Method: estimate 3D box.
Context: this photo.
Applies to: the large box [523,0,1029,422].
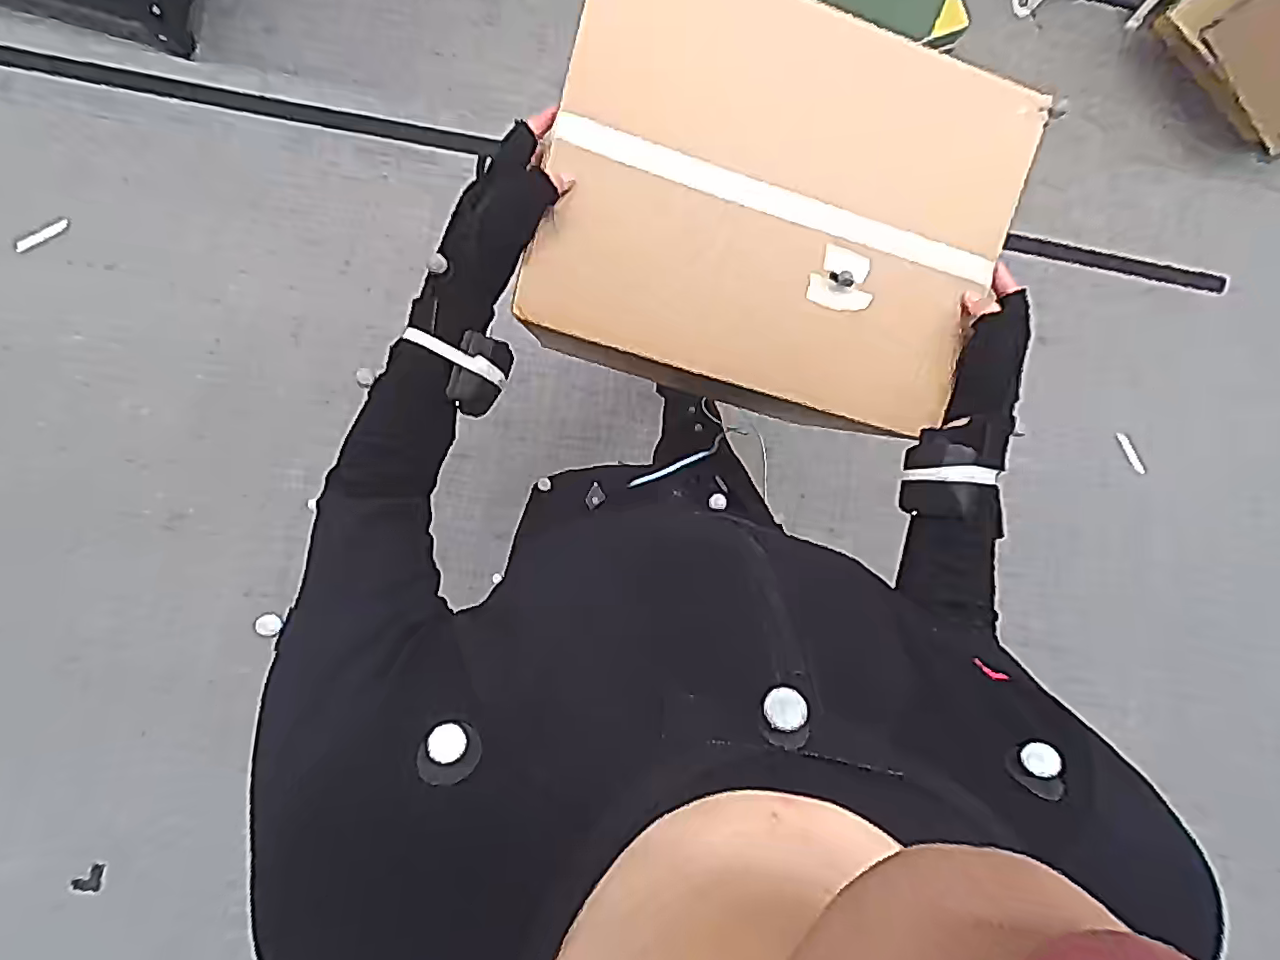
[{"bbox_3d":[0.107,-0.272,0.624,0.408,0.320,0.320,15,98,-9],"label":"large box"}]
